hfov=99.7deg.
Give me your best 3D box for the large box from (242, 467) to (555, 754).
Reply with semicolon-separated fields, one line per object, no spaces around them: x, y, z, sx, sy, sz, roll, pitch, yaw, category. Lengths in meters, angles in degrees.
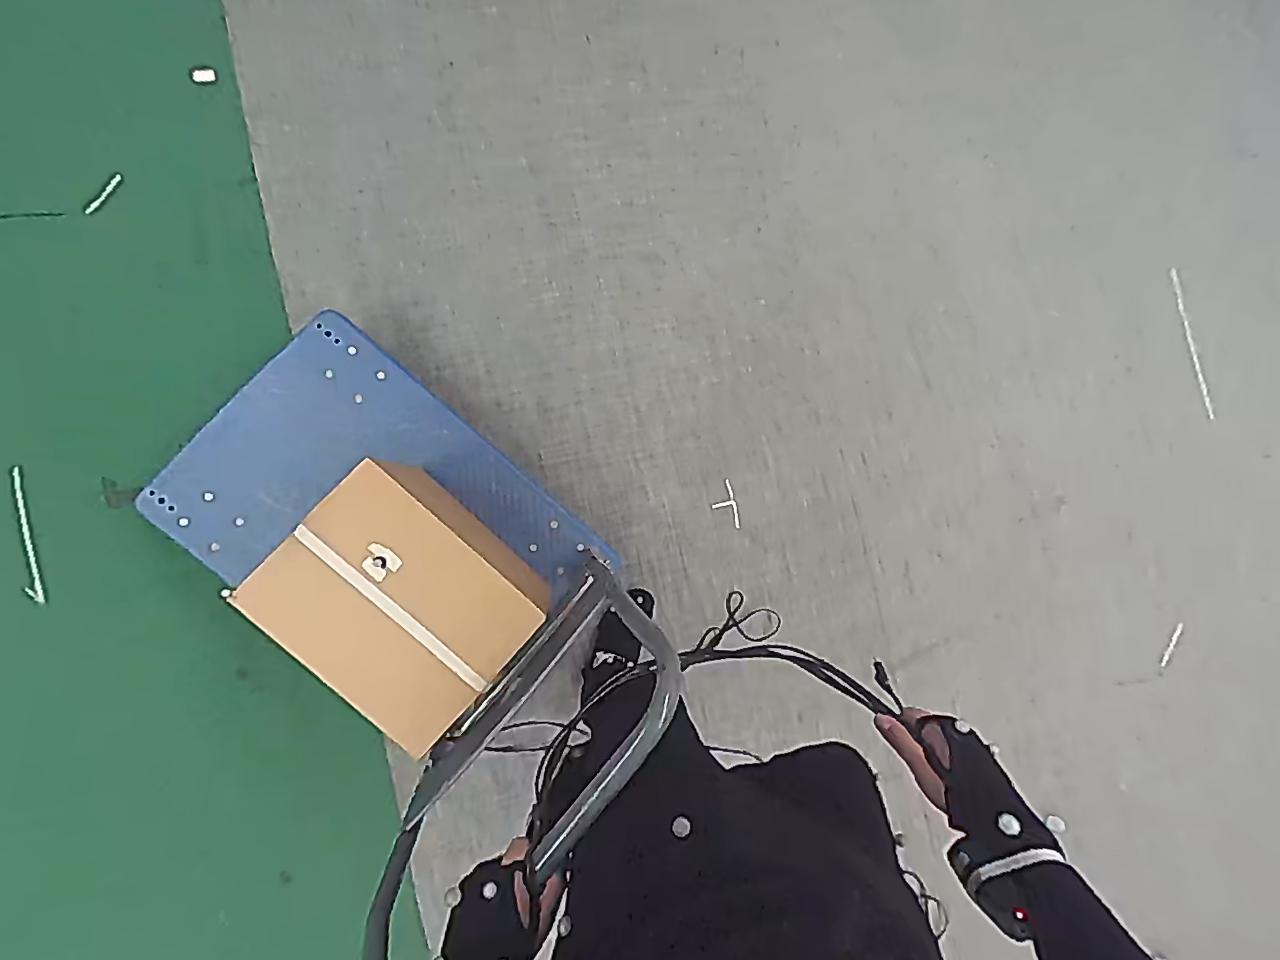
-0.418;0.225;1.052;0.408;0.320;0.320;43;83;-3;large box
